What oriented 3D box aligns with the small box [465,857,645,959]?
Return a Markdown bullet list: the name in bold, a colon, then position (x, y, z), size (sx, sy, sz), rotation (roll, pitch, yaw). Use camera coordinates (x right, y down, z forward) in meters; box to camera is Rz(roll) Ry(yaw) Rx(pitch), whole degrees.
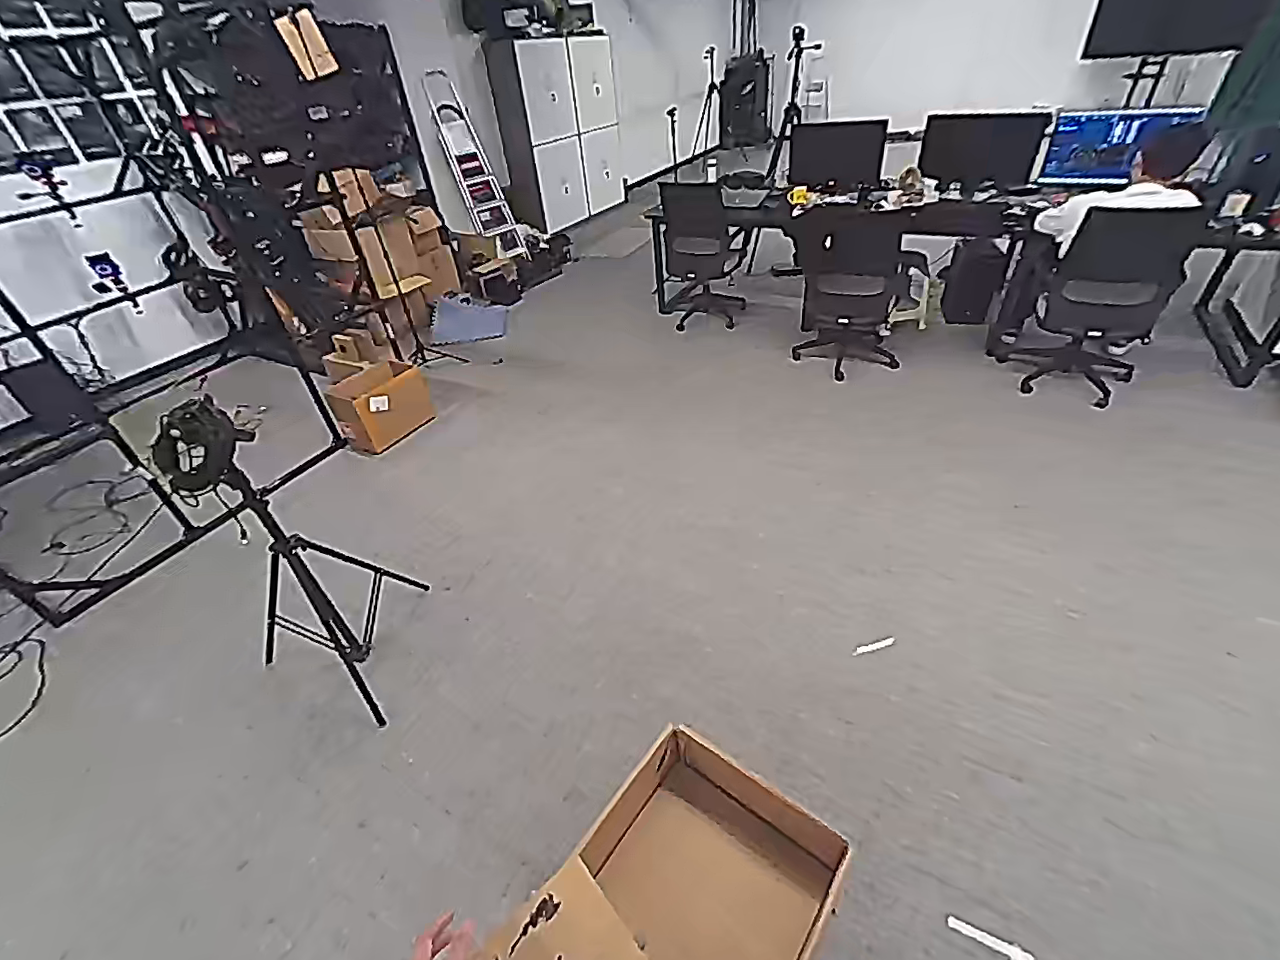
- **small box**: position (-0.076, 0.596, 0.624), size (0.168, 0.176, 0.179), rotation (-31, 44, -27)
